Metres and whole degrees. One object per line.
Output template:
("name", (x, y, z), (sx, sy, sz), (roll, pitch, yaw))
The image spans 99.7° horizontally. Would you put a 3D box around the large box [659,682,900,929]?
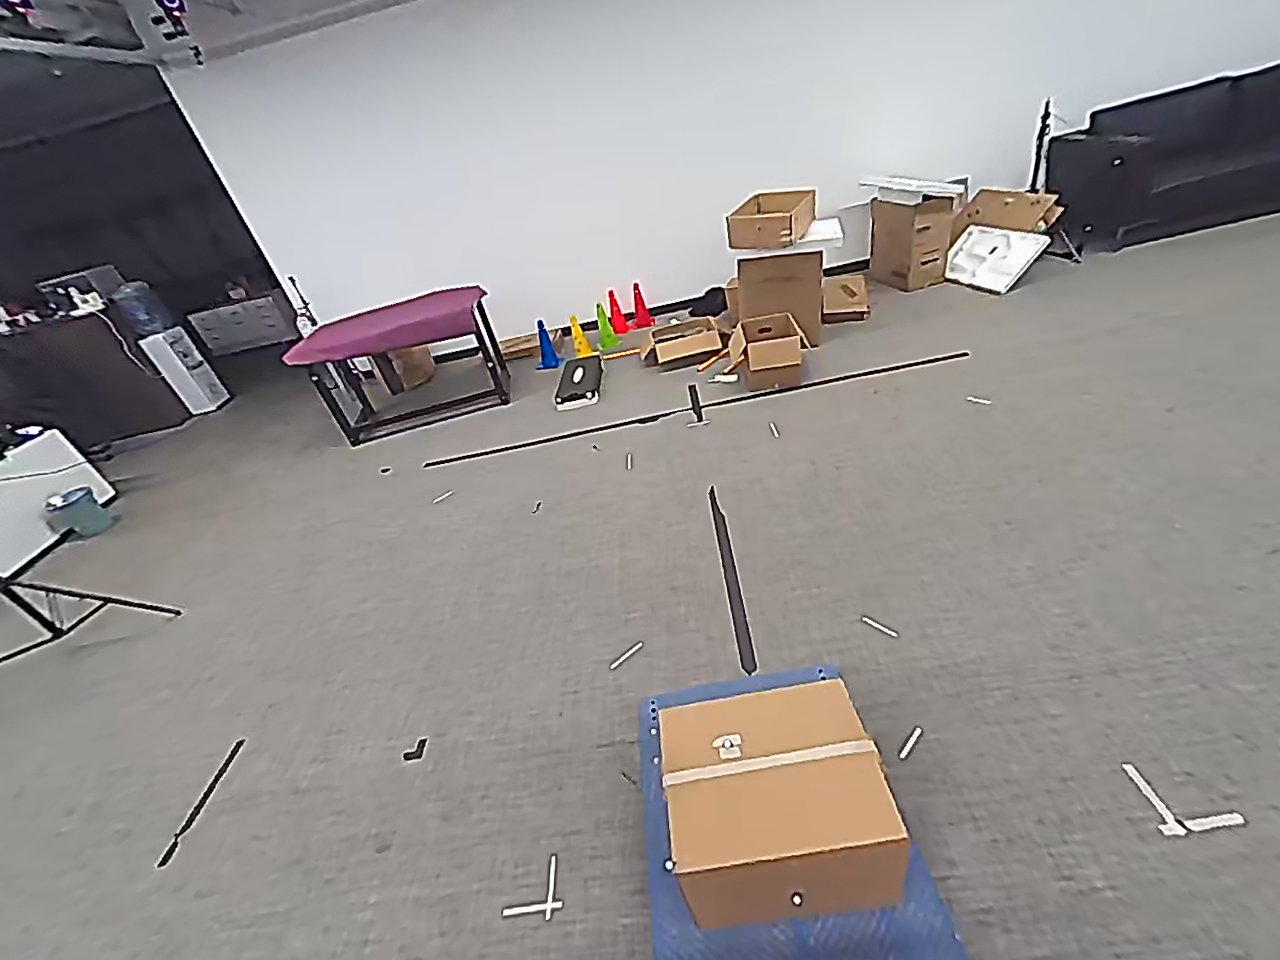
("large box", (0.278, 0.684, 1.143), (0.408, 0.320, 0.320), (-13, 33, 4))
